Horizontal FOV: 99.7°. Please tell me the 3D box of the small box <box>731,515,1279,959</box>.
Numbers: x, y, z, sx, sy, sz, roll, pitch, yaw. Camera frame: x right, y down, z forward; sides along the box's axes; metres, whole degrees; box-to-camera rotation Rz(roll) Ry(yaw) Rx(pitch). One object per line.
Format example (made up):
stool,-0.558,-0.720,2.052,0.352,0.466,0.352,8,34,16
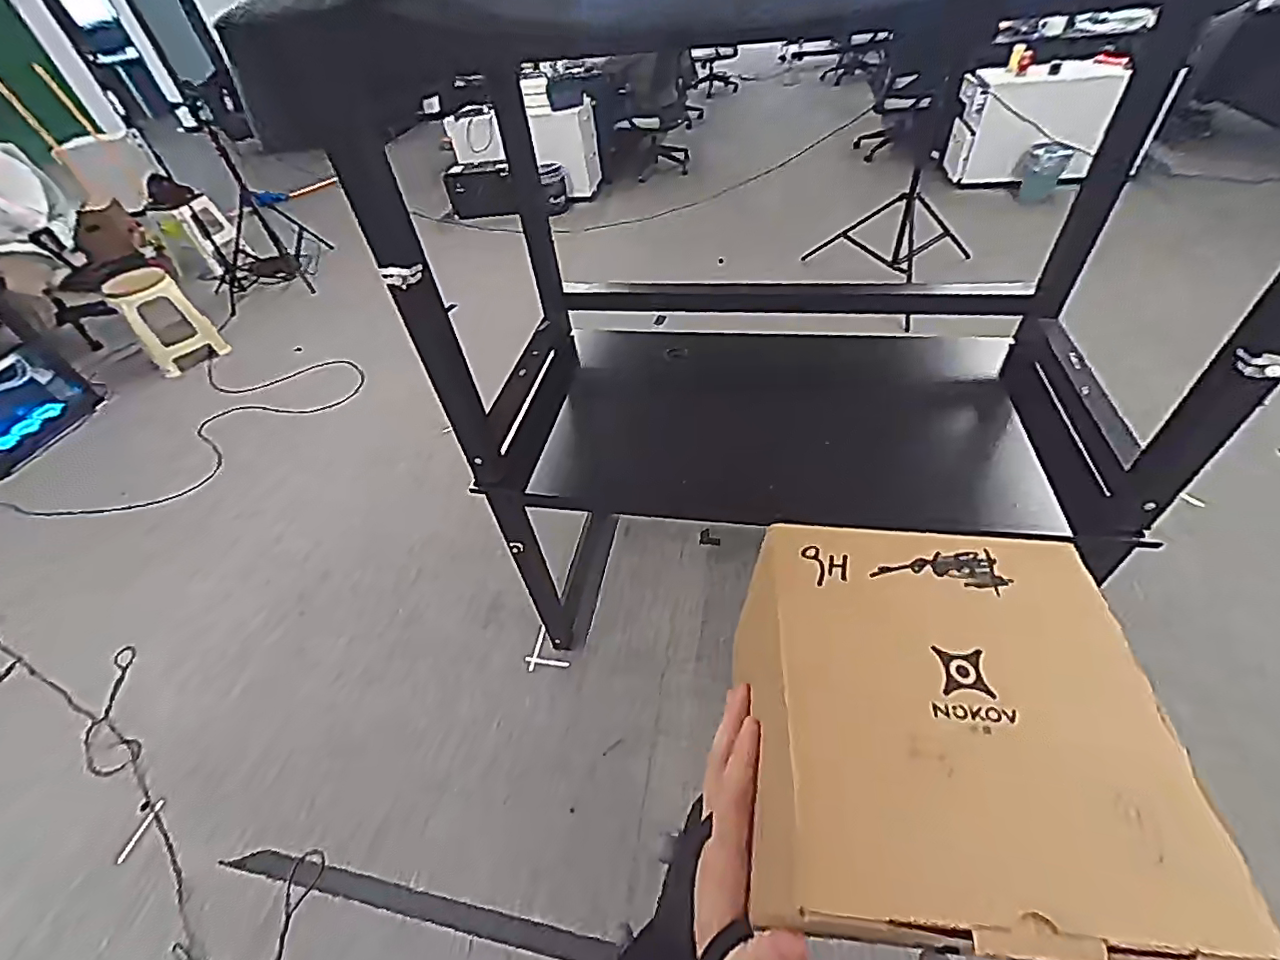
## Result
small box,0.145,0.142,0.299,0.168,0.176,0.179,5,51,3
